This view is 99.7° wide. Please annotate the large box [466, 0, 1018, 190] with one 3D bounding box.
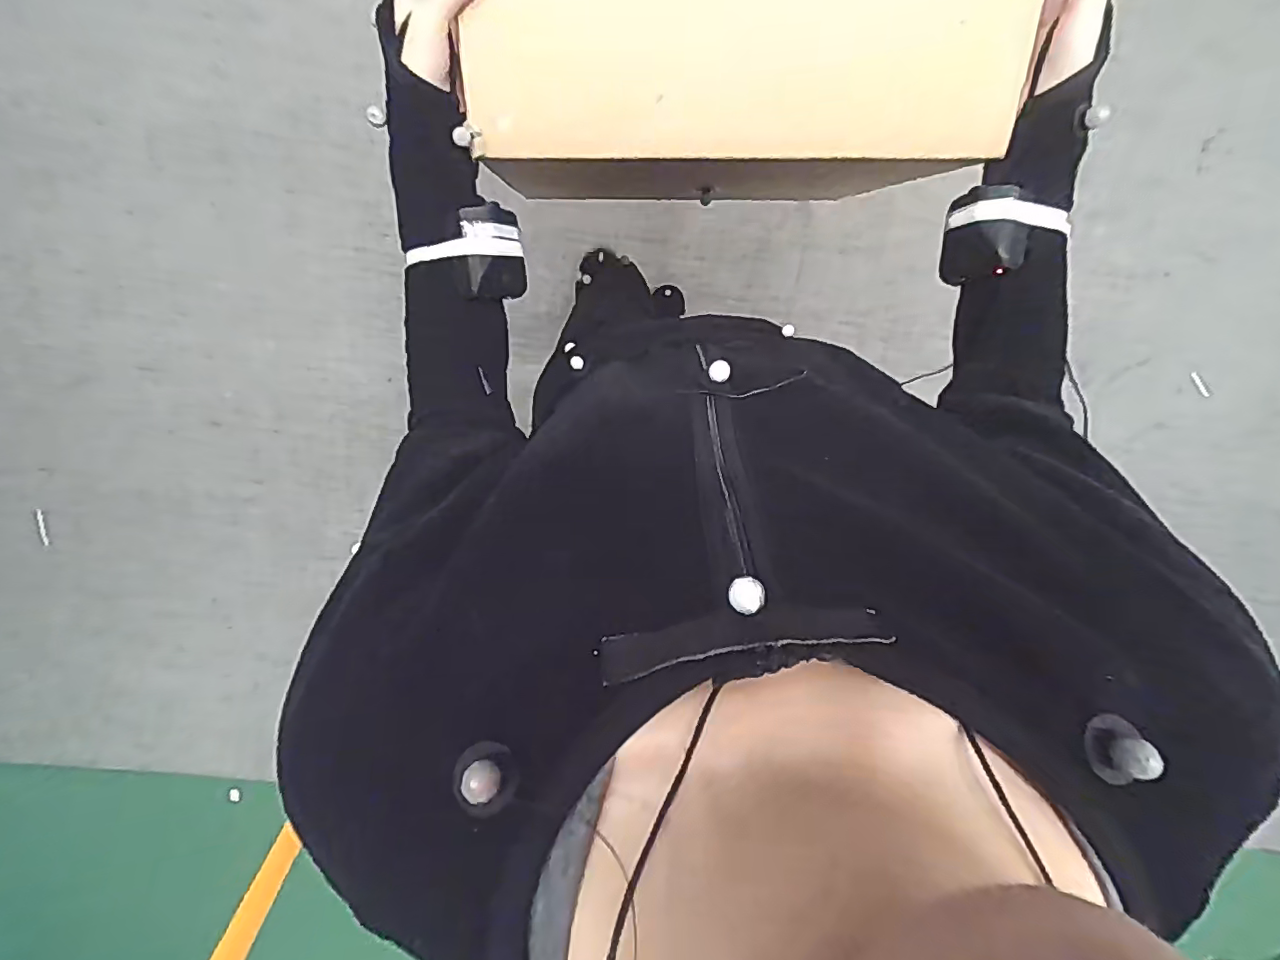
[{"bbox_3d":[0.069,-0.454,0.495,0.408,0.320,0.320,-2,112,-3],"label":"large box"}]
